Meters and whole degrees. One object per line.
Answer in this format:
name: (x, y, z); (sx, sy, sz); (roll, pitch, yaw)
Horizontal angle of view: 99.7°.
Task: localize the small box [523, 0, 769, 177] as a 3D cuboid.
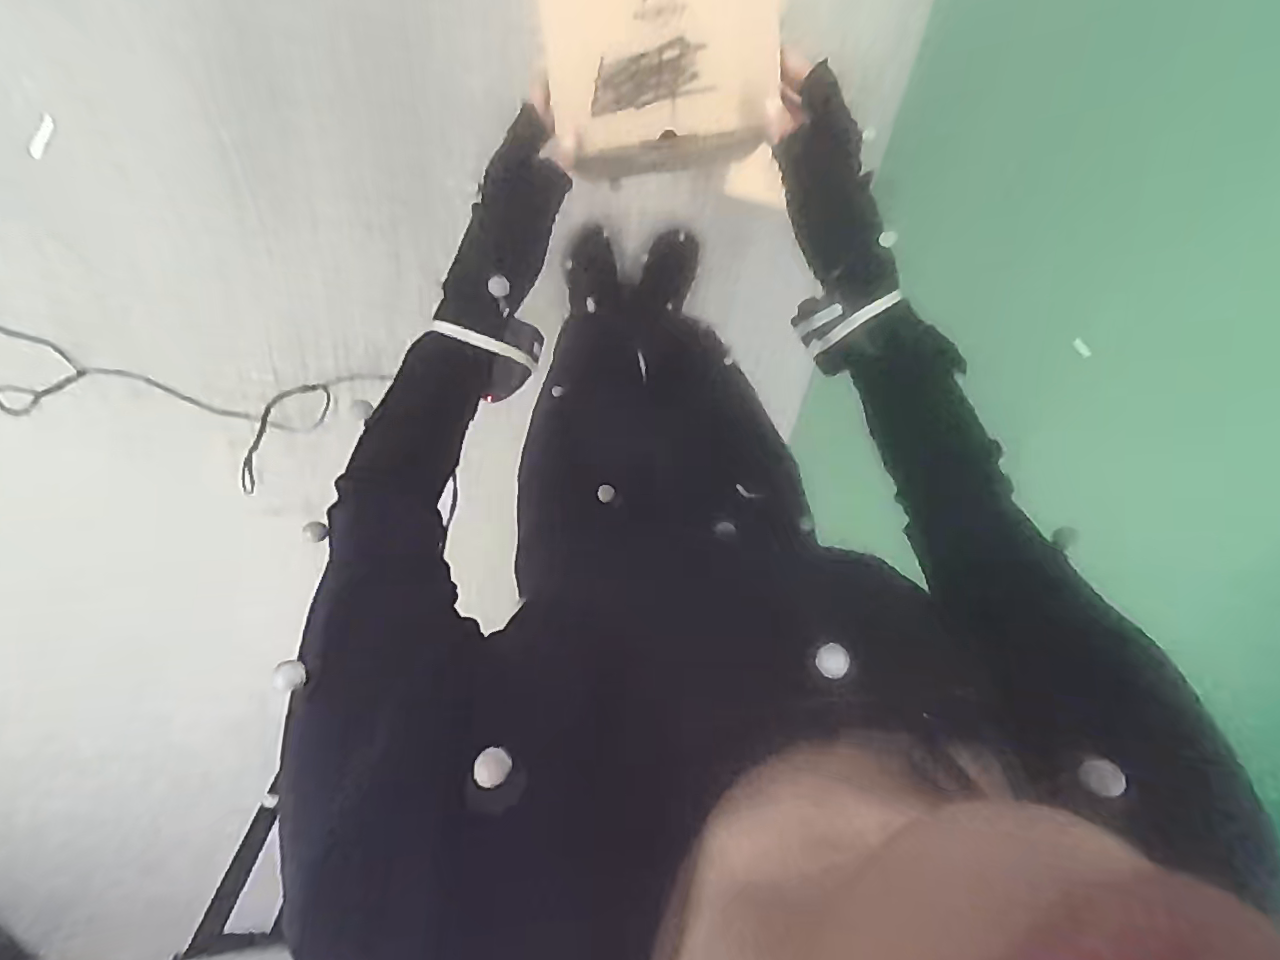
small box: (0.007, -0.355, 0.433); (0.168, 0.176, 0.179); (-6, 111, 5)
